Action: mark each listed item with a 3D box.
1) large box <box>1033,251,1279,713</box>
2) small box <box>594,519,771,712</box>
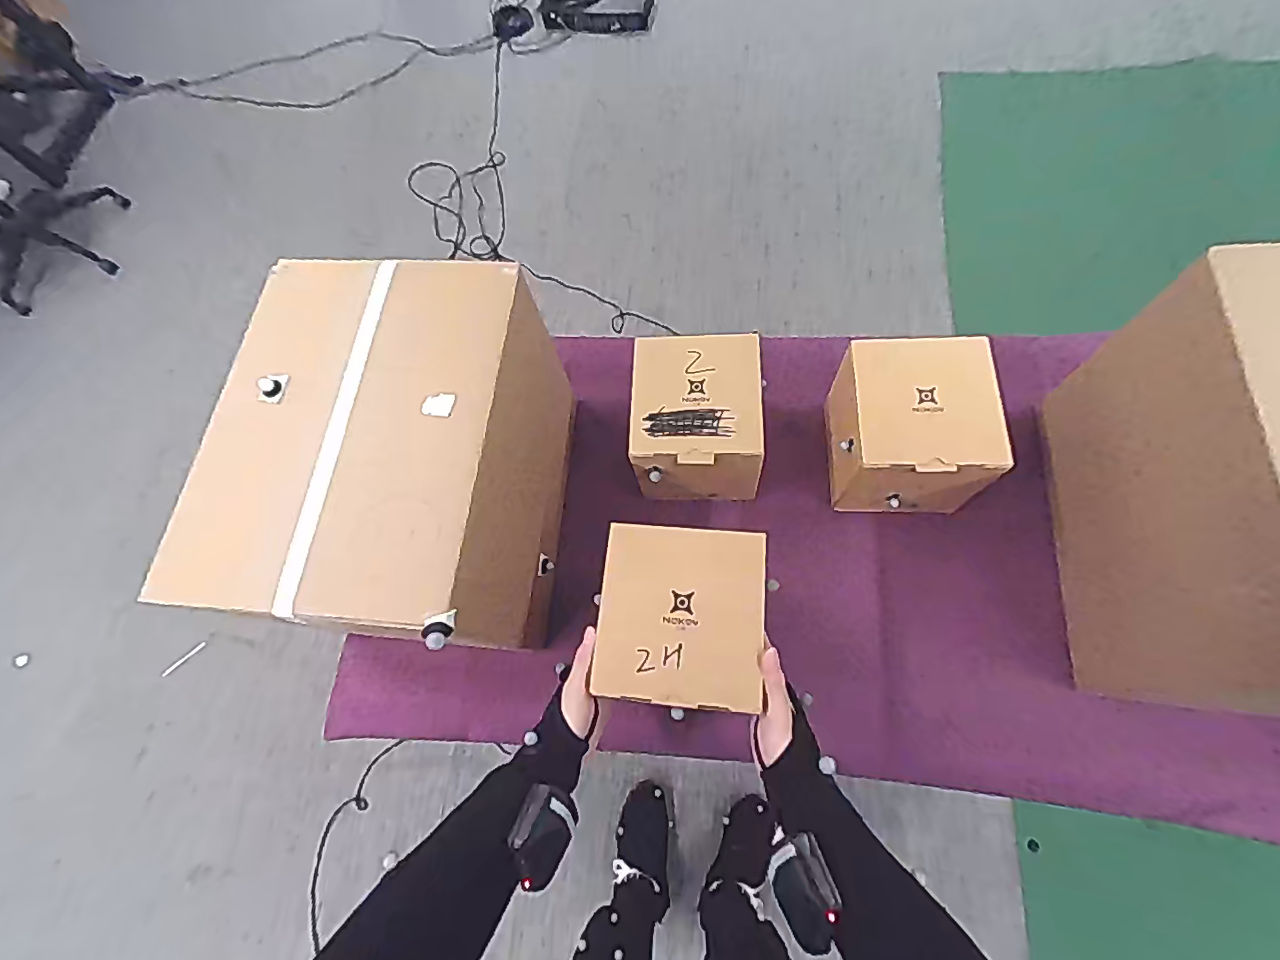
[{"bbox_3d":[0.686,0.028,0.568,0.320,0.320,0.408,3,70,10],"label":"large box"},{"bbox_3d":[0.053,0.157,0.610,0.168,0.176,0.179,3,69,8],"label":"small box"}]
